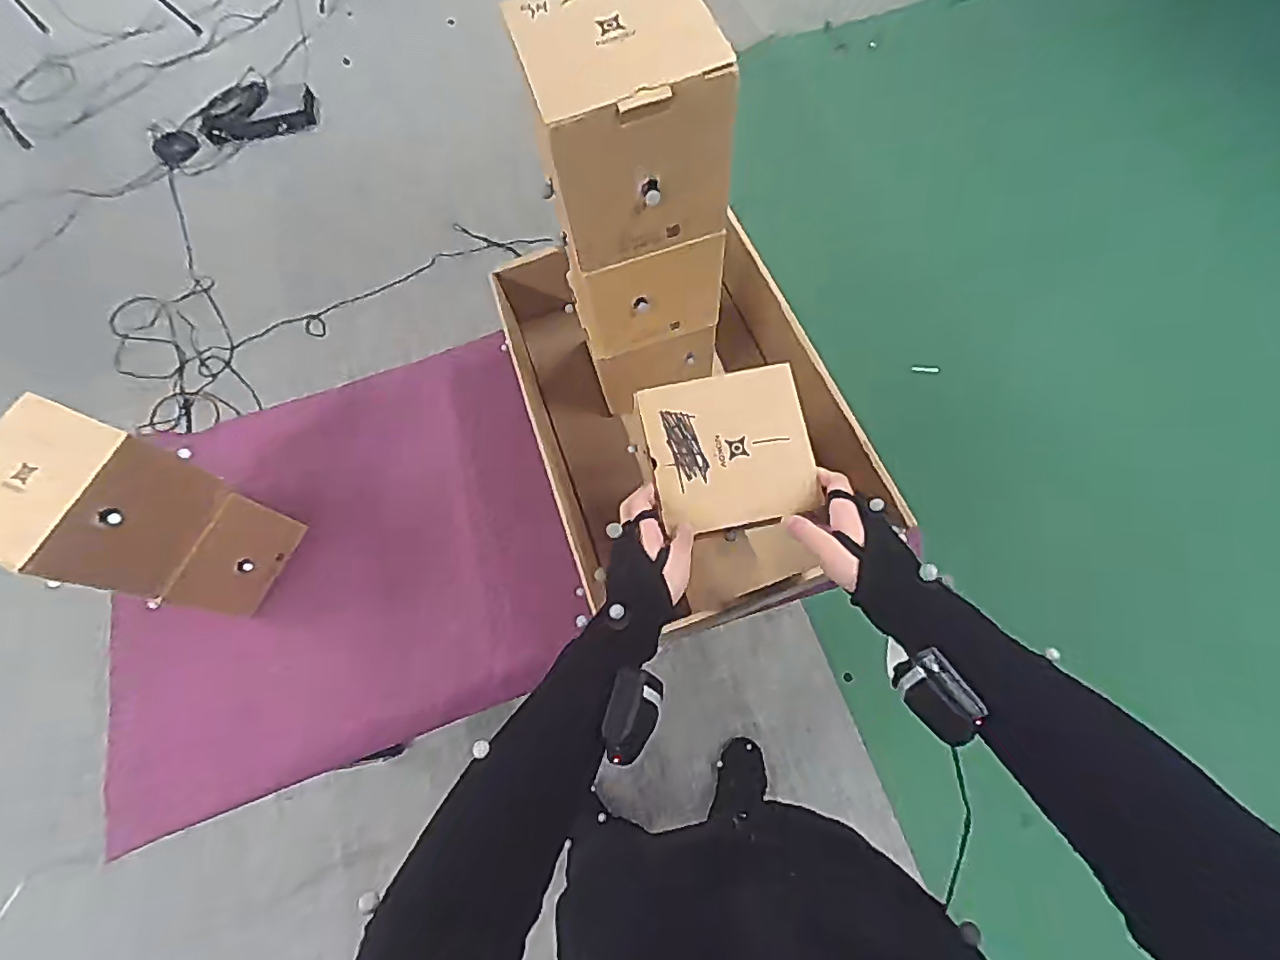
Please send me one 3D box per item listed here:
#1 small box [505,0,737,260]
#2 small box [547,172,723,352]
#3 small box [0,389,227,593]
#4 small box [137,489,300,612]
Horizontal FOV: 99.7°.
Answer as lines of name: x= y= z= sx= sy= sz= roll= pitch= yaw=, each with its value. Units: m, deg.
small box: x=-0.015 y=-0.347 z=0.536 sx=0.168 sy=0.176 sz=0.179 roll=-18 pitch=69 yaw=-2
small box: x=-0.002 y=-0.286 z=0.688 sx=0.168 sy=0.176 sz=0.179 roll=-18 pitch=68 yaw=-2
small box: x=-0.677 y=0.023 z=0.670 sx=0.168 sy=0.176 sz=0.179 roll=20 pitch=71 yaw=10
small box: x=-0.670 y=0.090 z=0.819 sx=0.179 sy=0.176 sz=0.168 roll=20 pitch=70 yaw=12
